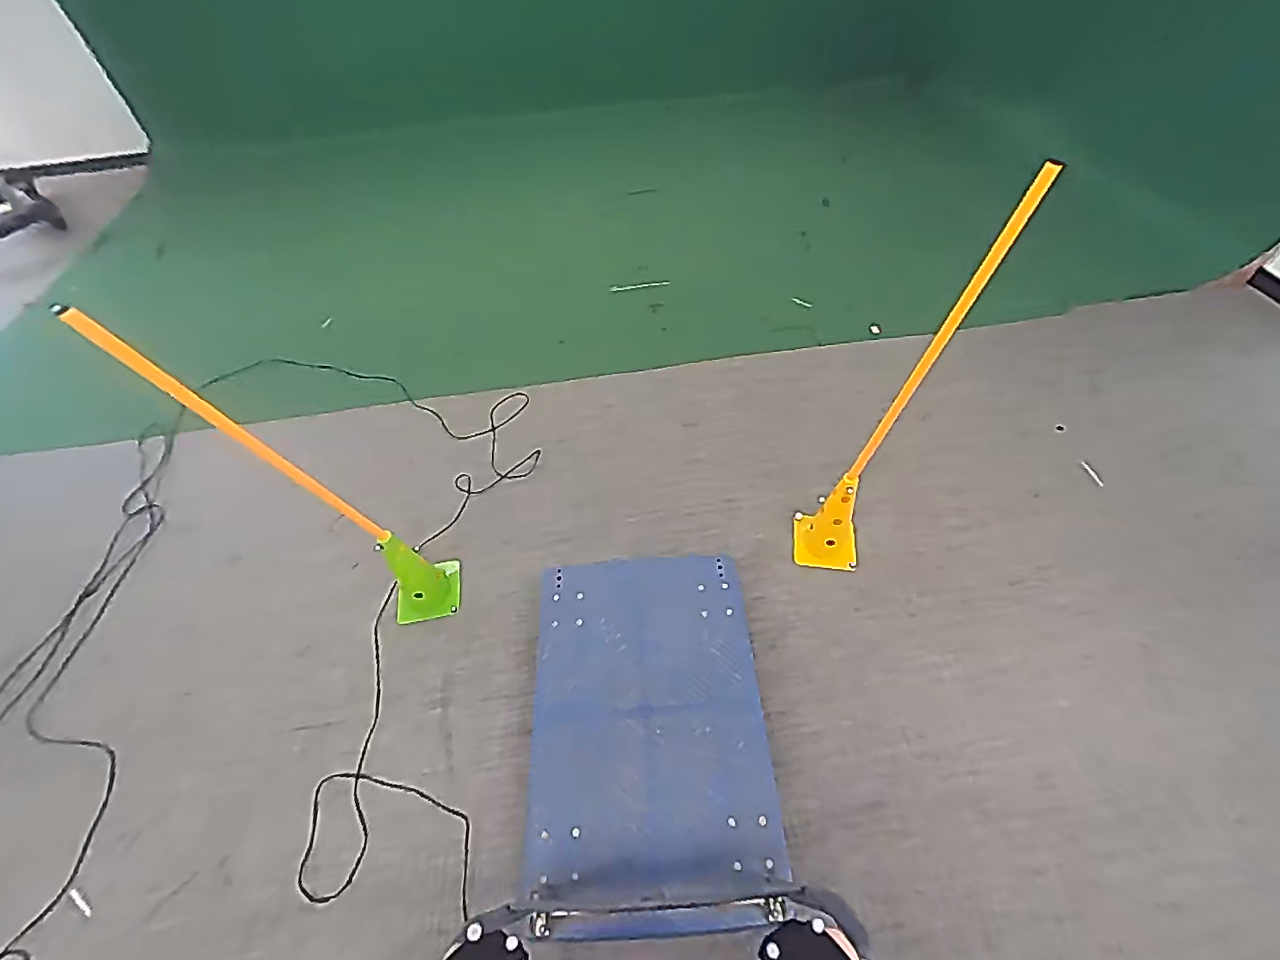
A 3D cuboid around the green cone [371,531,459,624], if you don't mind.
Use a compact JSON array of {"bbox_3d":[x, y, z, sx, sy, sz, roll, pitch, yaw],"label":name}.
[{"bbox_3d":[-0.712,0.263,1.647,0.202,0.368,0.200,-12,52,-3],"label":"green cone"}]
